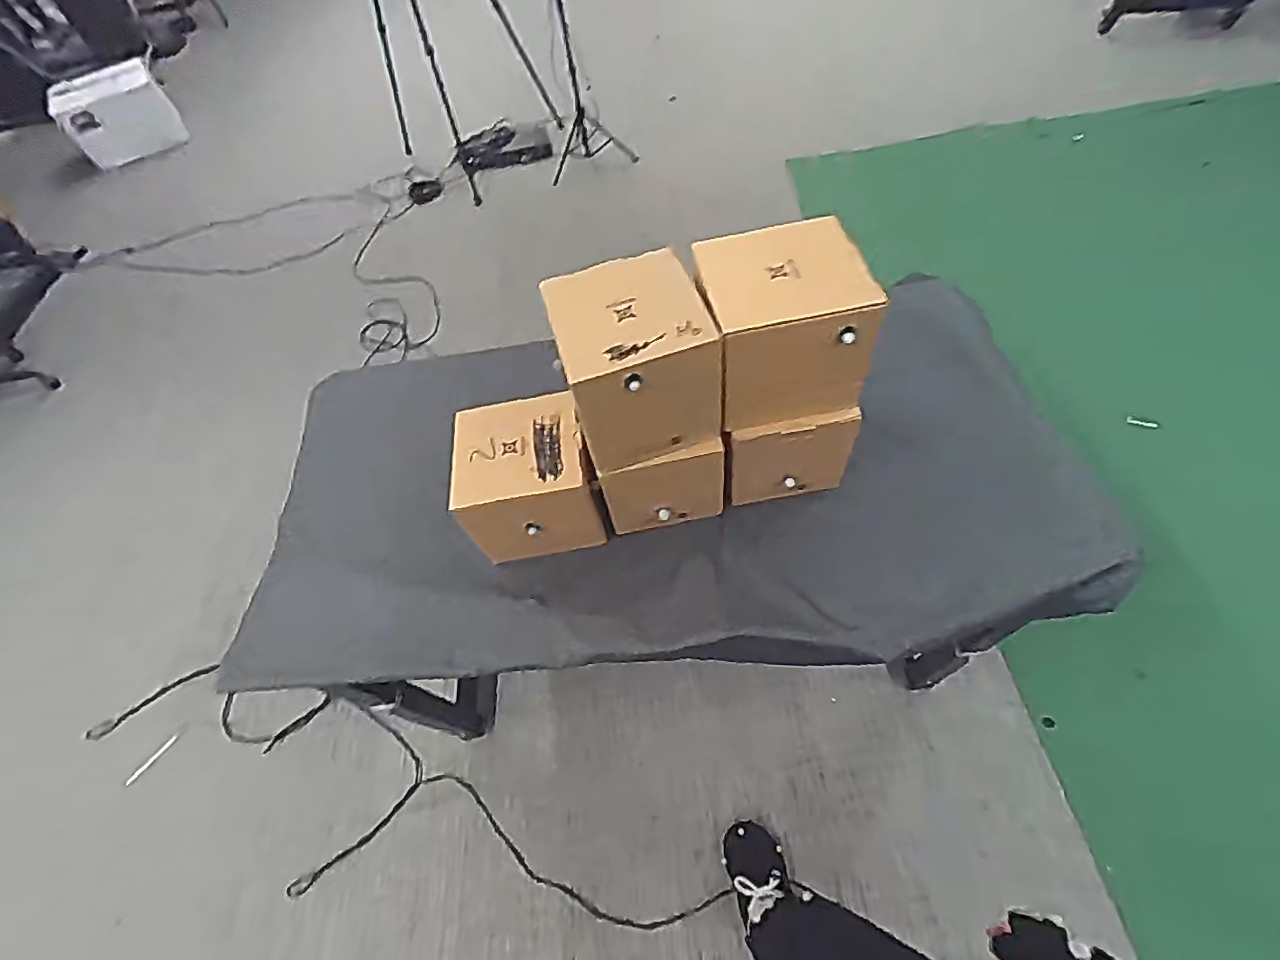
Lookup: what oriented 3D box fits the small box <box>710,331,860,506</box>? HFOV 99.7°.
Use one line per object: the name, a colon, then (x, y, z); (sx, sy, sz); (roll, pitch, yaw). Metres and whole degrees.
small box: (0.198, -0.086, 0.797); (0.168, 0.176, 0.179); (-10, 56, 2)
